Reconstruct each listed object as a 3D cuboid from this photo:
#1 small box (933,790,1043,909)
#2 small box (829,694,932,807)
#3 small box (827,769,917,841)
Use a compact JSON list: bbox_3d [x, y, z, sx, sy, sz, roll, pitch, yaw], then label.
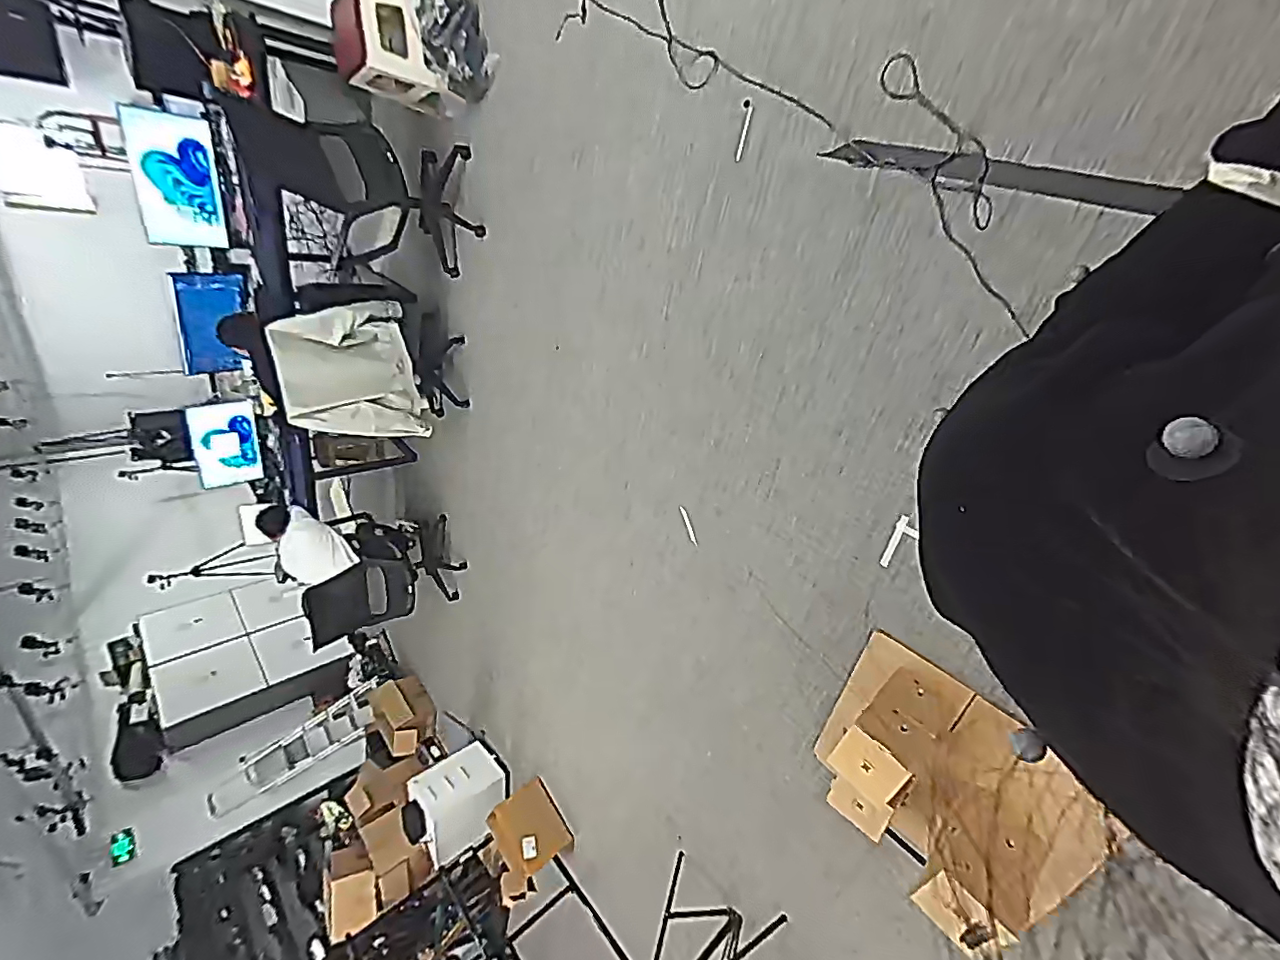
[{"bbox_3d":[0.938,0.986,1.454,0.179,0.176,0.168,42,129,28],"label":"small box"},{"bbox_3d":[0.643,0.714,1.439,0.168,0.176,0.179,38,126,33],"label":"small box"},{"bbox_3d":[0.721,0.957,1.681,0.179,0.176,0.168,30,124,38],"label":"small box"}]
